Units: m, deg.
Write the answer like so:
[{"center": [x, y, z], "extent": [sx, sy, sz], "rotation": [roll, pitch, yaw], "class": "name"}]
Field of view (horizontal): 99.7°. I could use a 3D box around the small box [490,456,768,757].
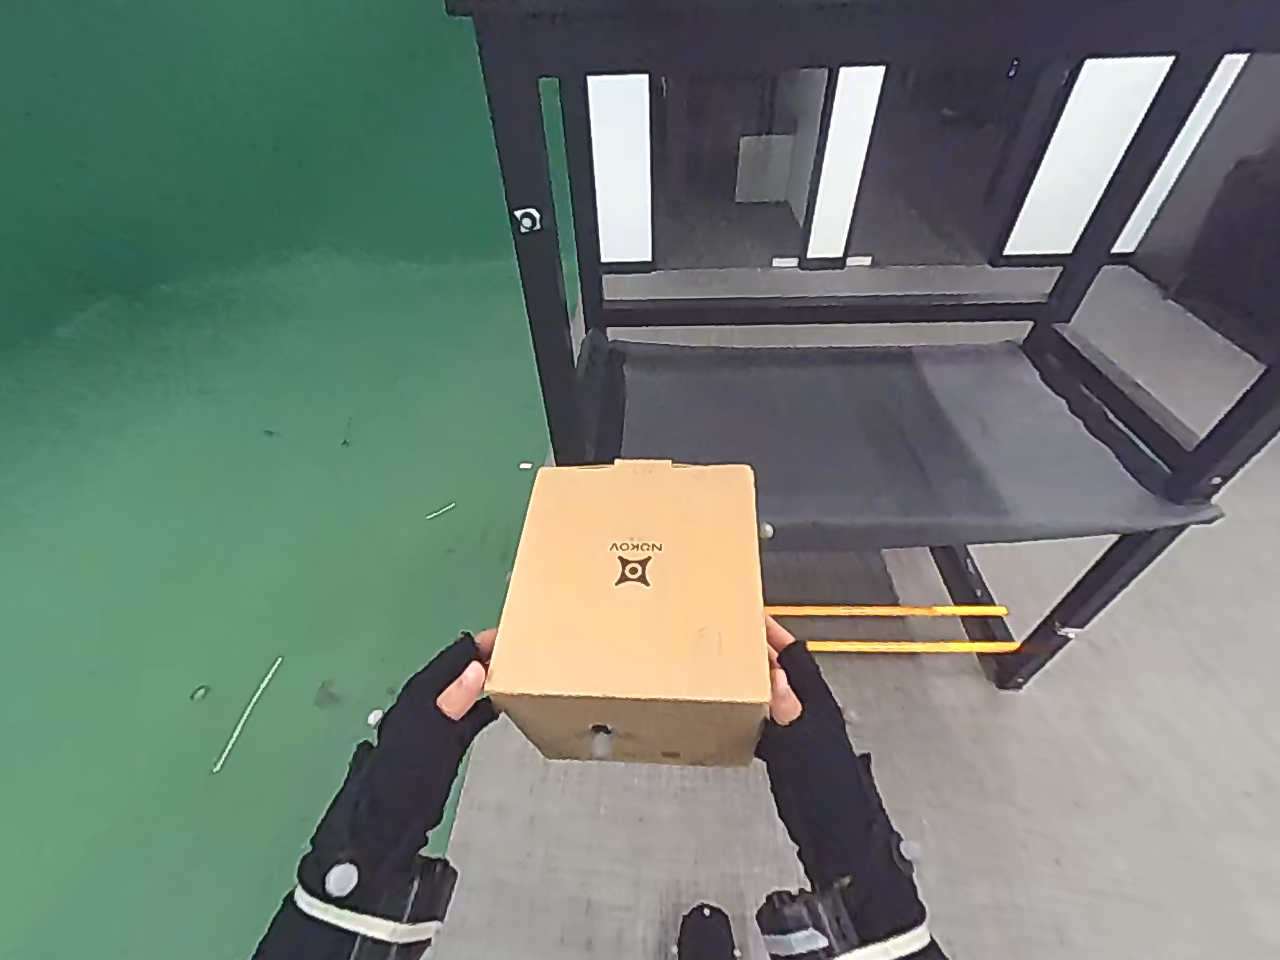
[{"center": [0.005, 0.102, 0.419], "extent": [0.168, 0.176, 0.179], "rotation": [-1, 50, 6], "class": "small box"}]
